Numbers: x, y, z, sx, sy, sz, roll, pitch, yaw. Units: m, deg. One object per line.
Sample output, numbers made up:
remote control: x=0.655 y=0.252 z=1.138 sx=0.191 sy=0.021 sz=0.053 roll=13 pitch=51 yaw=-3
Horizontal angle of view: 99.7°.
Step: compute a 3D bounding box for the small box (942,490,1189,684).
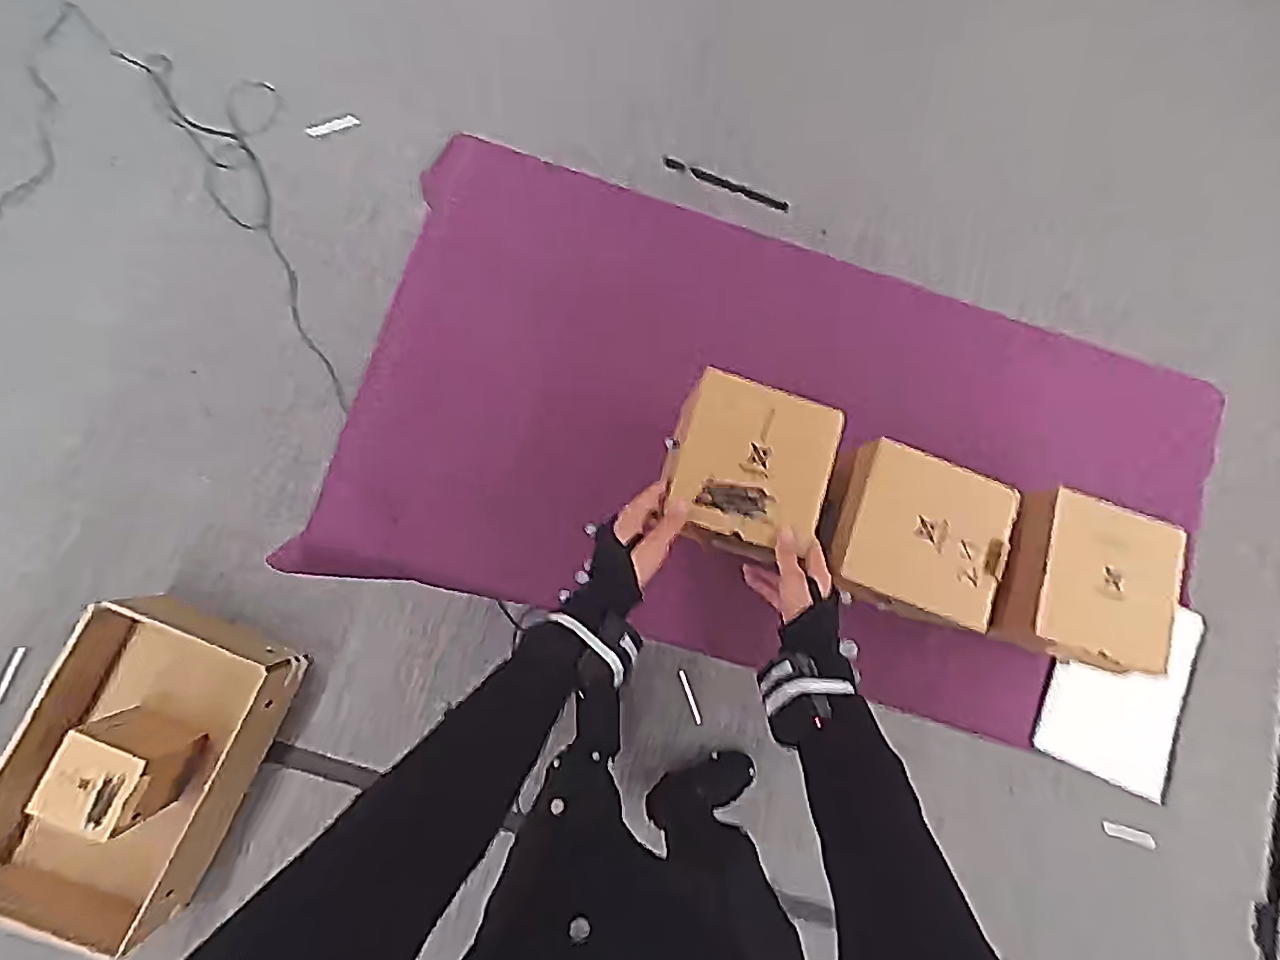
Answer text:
small box: x=0.520 y=0.130 z=0.685 sx=0.168 sy=0.176 sz=0.179 roll=20 pitch=80 yaw=-3
